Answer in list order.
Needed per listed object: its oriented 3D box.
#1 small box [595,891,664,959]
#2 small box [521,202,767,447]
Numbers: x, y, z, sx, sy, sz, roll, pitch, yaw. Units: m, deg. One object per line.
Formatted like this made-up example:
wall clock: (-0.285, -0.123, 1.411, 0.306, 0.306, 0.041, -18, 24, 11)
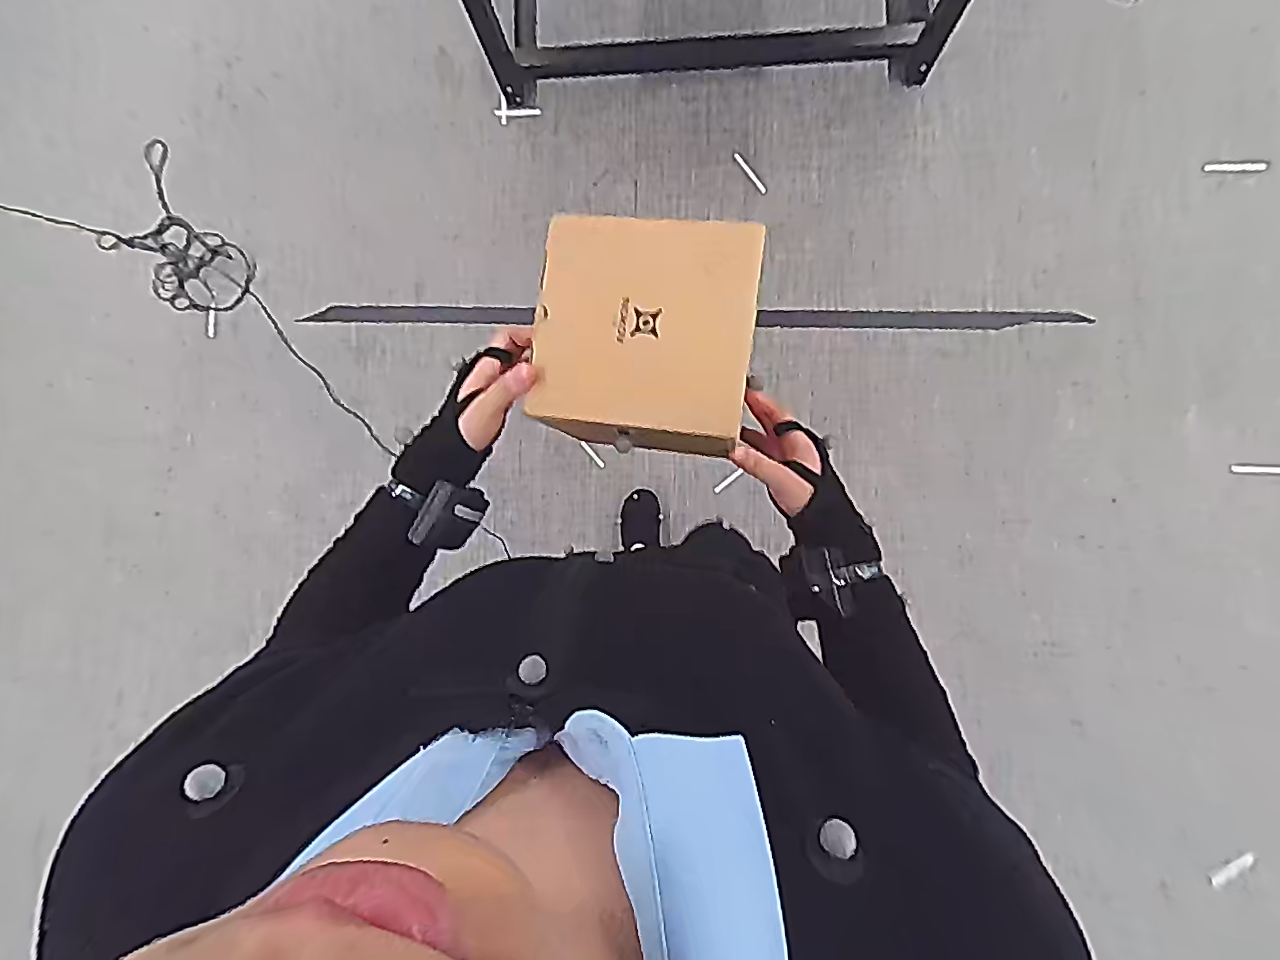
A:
small box: (-0.026, 1.192, 1.373, 0.168, 0.176, 0.179, 3, 88, 4)
small box: (0.014, -0.127, 0.496, 0.179, 0.176, 0.168, 7, 87, 11)
